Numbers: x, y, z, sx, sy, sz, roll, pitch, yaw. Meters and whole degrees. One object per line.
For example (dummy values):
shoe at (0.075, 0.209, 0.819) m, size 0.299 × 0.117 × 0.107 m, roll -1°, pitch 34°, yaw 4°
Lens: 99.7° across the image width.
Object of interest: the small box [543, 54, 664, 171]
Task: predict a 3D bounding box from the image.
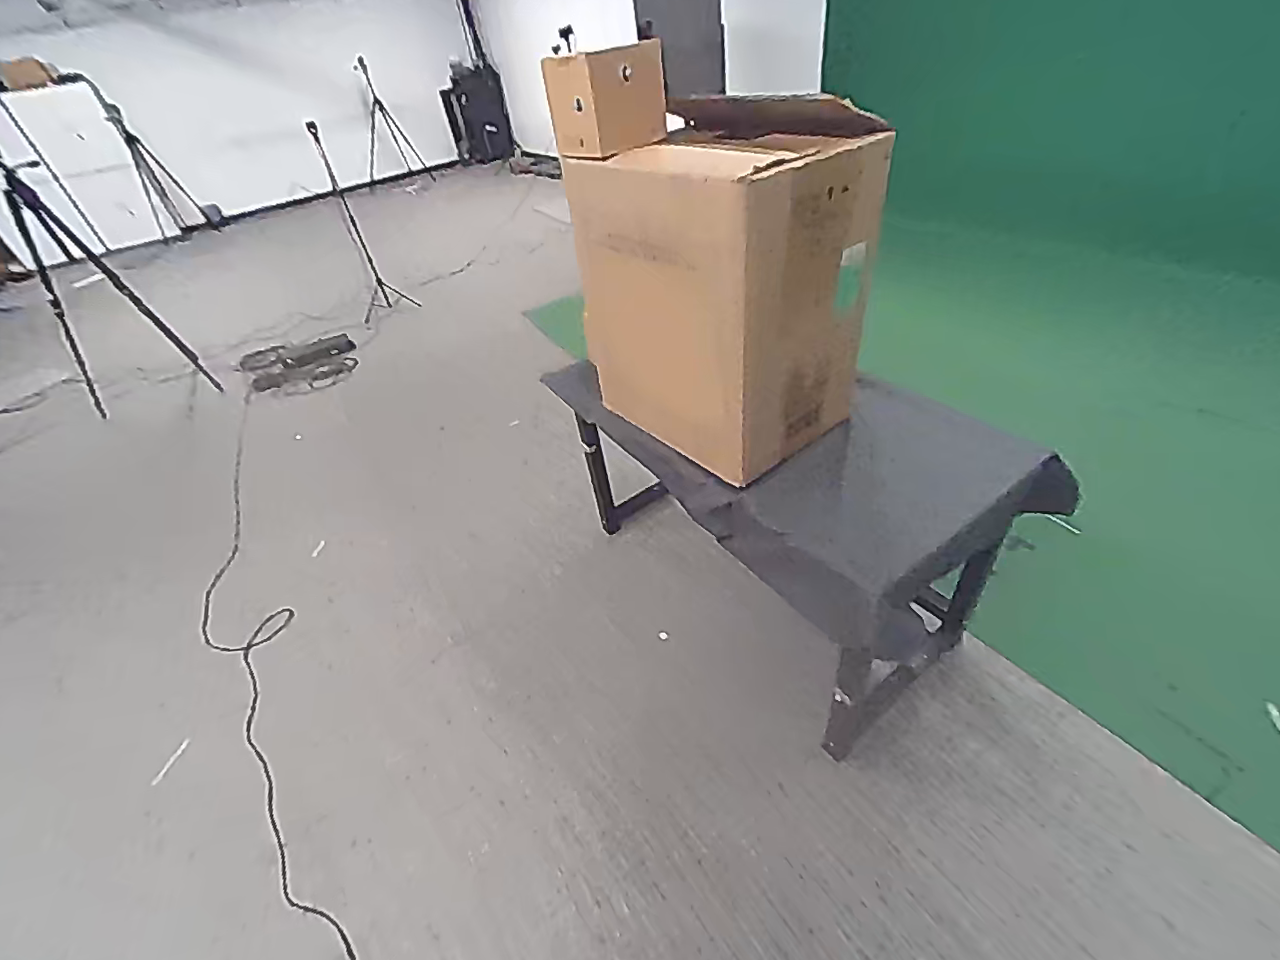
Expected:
small box at (-0.068, -0.743, 1.102) m, size 0.179 × 0.176 × 0.168 m, roll -30°, pitch 43°, yaw -24°
